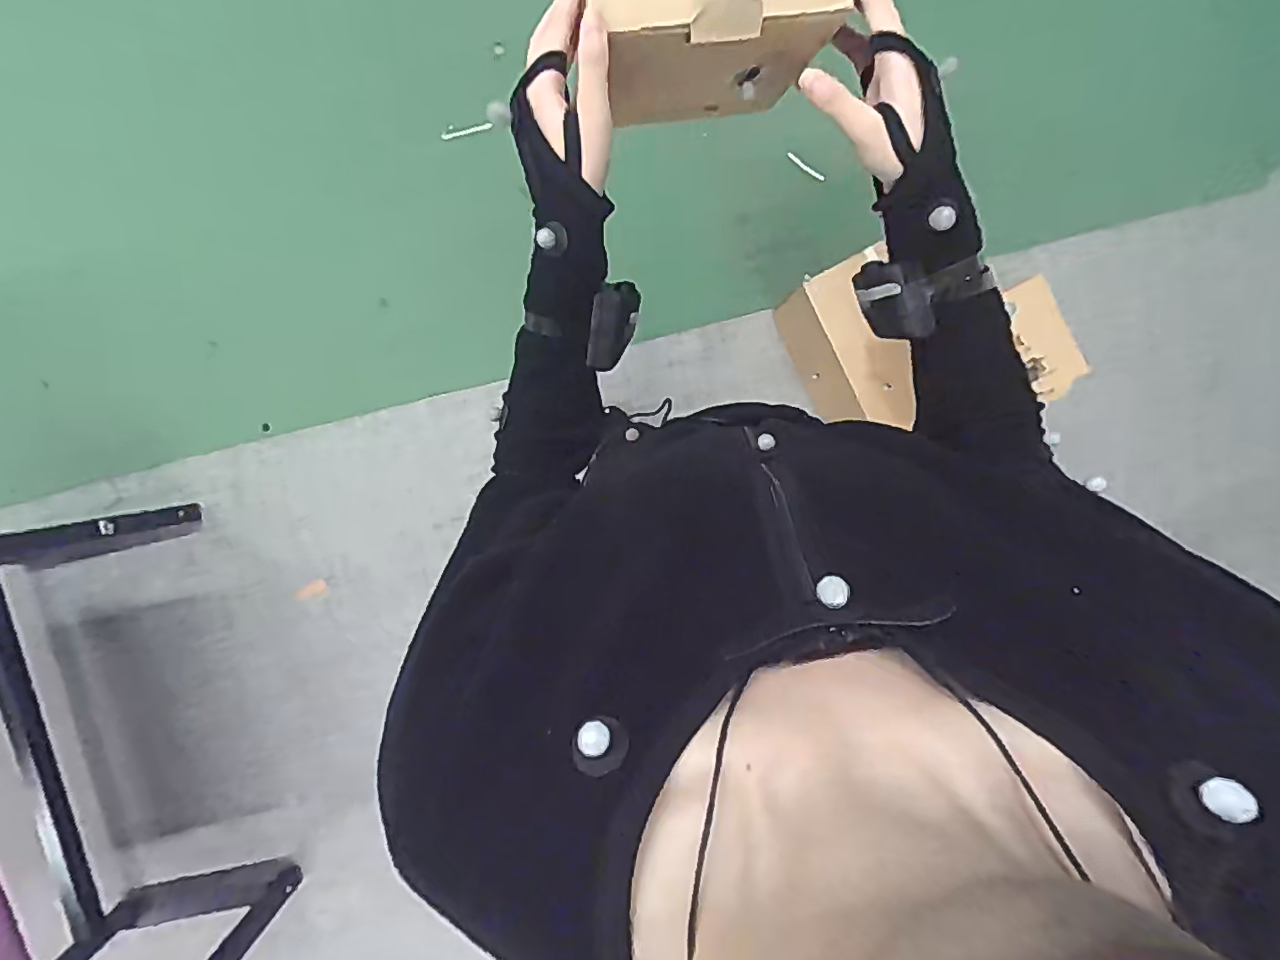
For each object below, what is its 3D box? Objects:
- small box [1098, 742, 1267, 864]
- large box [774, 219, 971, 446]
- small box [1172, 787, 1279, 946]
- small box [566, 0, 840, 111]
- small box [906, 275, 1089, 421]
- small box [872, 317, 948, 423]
[{"bbox_3d":[1.141,0.682,1.150,0.179,0.176,0.168,5,95,-1],"label":"small box"},{"bbox_3d":[0.581,-0.328,1.324,0.320,0.320,0.408,-27,92,2],"label":"large box"},{"bbox_3d":[1.141,0.704,0.989,0.168,0.176,0.179,7,94,-1],"label":"small box"},{"bbox_3d":[0.029,-0.384,0.378,0.168,0.176,0.179,-8,107,-4],"label":"small box"},{"bbox_3d":[0.594,-0.212,0.921,0.168,0.176,0.179,-27,92,3],"label":"small box"},{"bbox_3d":[0.599,-0.225,1.085,0.168,0.176,0.179,-23,94,3],"label":"small box"}]
